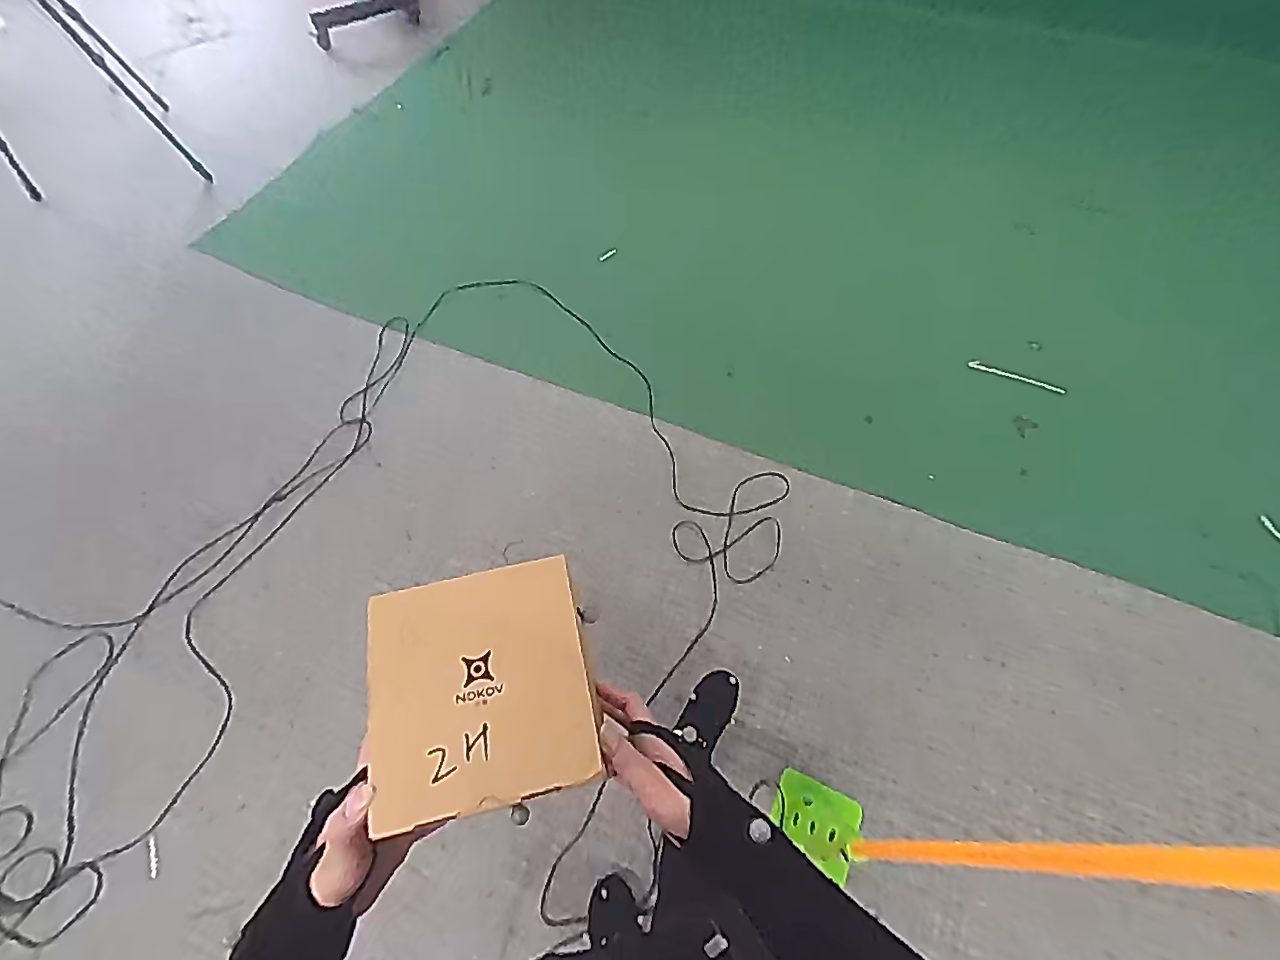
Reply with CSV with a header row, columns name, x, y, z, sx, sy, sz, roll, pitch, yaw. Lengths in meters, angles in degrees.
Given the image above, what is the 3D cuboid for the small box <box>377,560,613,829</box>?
name,x,y,z,sx,sy,sz,roll,pitch,yaw
small box,-0.121,0.196,0.495,0.168,0.176,0.179,-11,62,-6

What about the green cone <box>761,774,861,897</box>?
name,x,y,z,sx,sy,sz,roll,pitch,yaw
green cone,0.401,0.761,1.143,0.202,0.368,0.200,22,65,15
